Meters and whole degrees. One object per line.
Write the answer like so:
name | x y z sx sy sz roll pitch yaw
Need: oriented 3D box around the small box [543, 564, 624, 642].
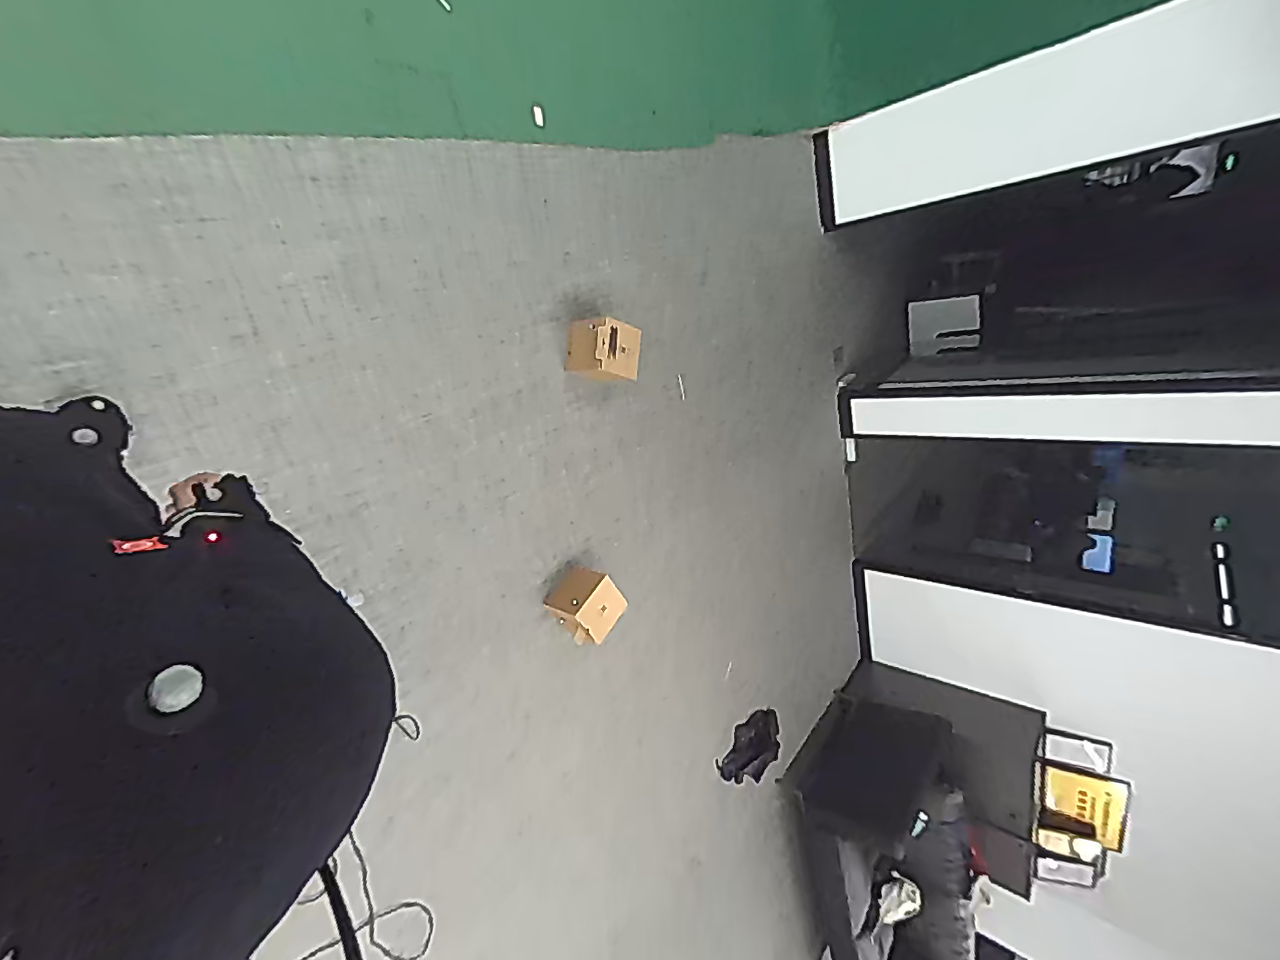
small box | -0.192 0.405 1.818 0.179 0.176 0.168 -51 129 -29
